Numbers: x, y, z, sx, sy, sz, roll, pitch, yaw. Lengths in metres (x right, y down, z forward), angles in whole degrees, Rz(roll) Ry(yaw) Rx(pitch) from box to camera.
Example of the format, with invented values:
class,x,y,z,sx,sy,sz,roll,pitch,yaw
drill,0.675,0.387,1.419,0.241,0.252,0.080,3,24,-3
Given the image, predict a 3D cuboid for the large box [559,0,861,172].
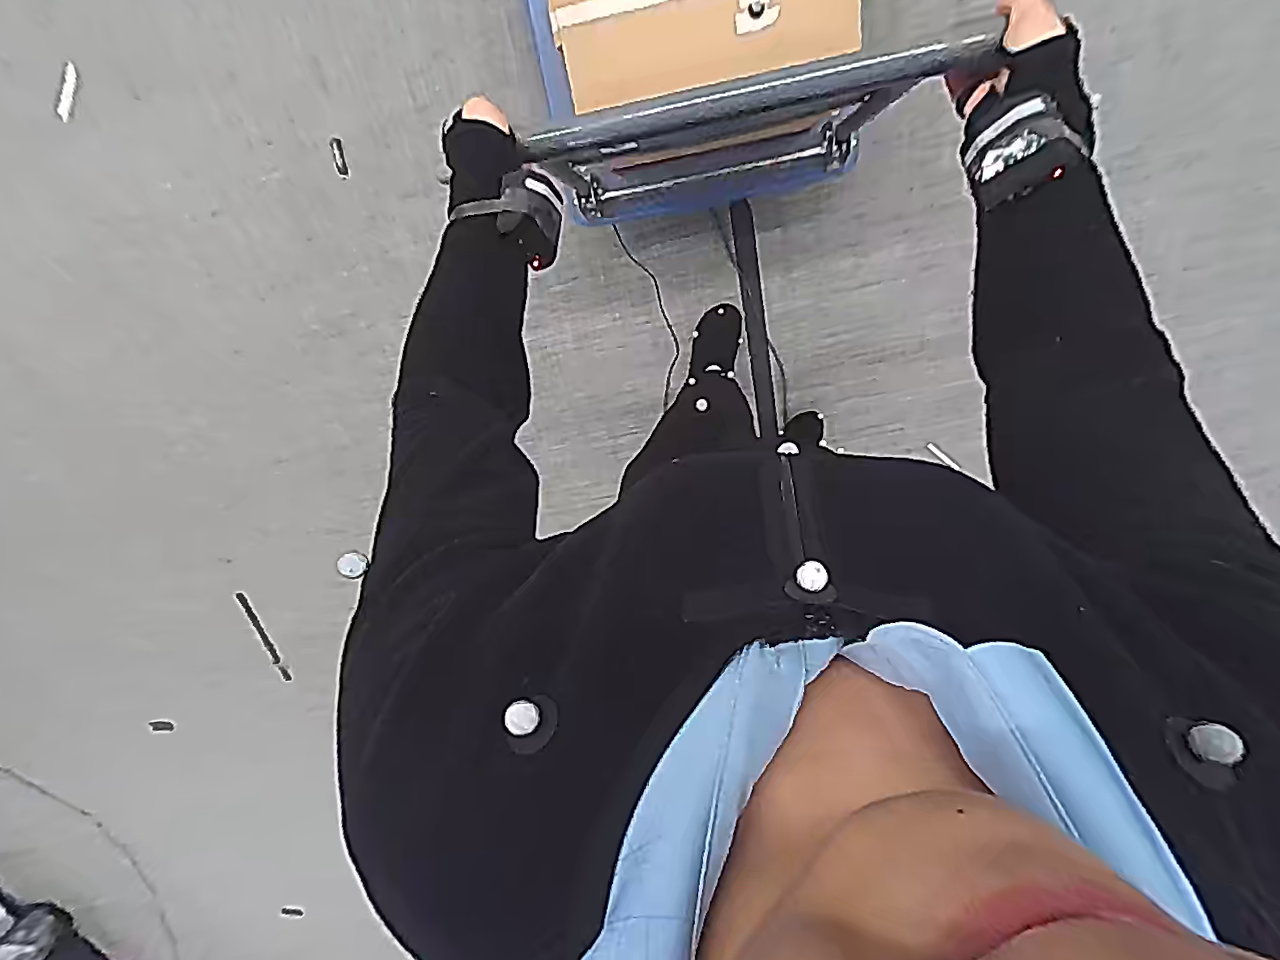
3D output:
class,x,y,z,sx,sy,sz,roll,pitch,yaw
large box,0.096,-0.724,0.864,0.408,0.320,0.320,-8,113,7
